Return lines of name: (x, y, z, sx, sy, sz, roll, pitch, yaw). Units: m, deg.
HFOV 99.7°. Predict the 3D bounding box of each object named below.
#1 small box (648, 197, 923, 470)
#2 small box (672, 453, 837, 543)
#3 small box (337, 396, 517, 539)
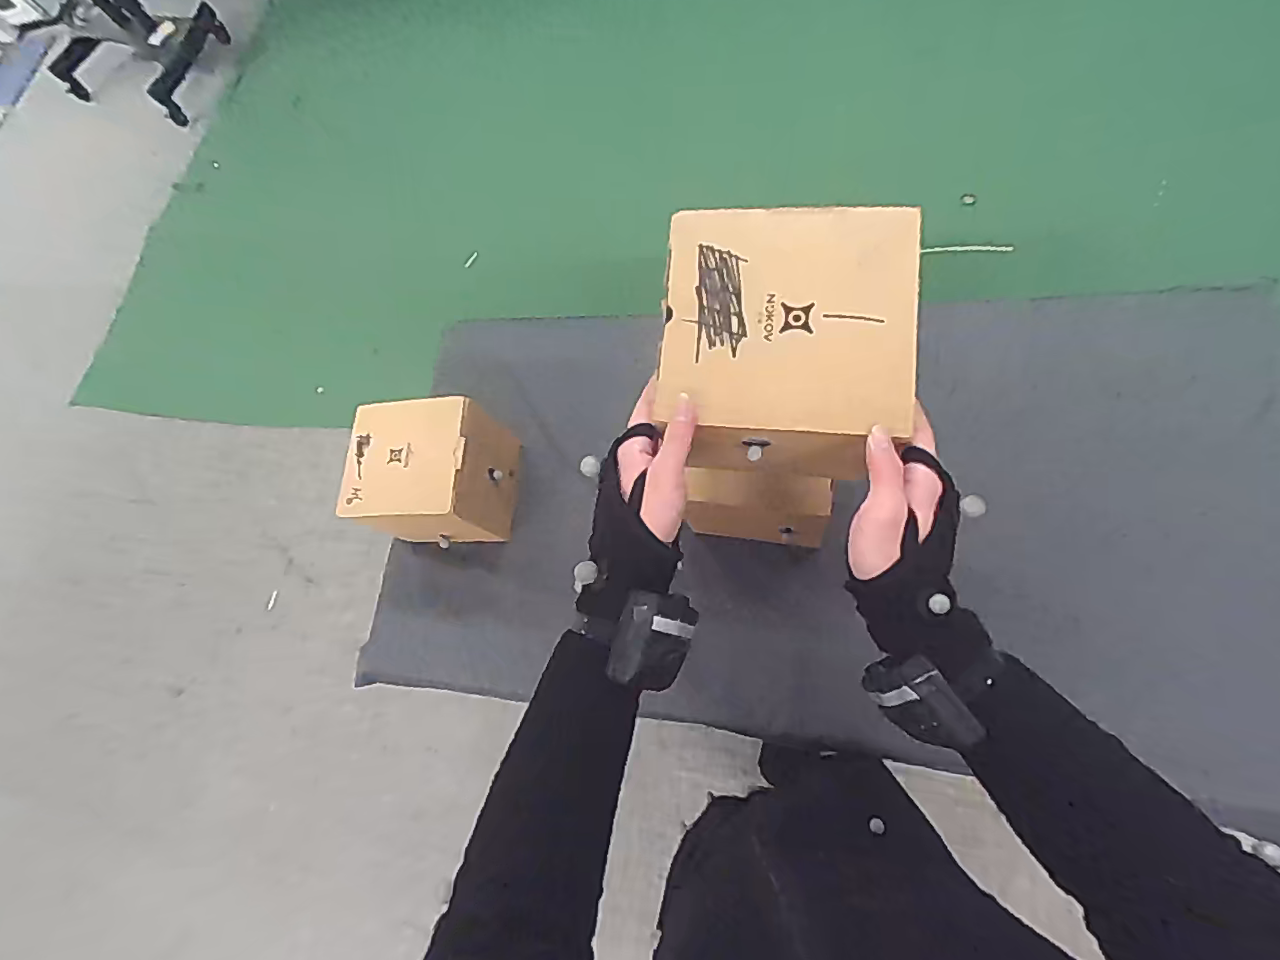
small box: (0.113, -0.107, 0.452, 0.179, 0.176, 0.168, 5, 82, 10)
small box: (0.152, -0.022, 0.688, 0.179, 0.176, 0.168, 5, 72, 17)
small box: (-0.297, -0.011, 0.795, 0.179, 0.176, 0.168, -1, 71, 12)
